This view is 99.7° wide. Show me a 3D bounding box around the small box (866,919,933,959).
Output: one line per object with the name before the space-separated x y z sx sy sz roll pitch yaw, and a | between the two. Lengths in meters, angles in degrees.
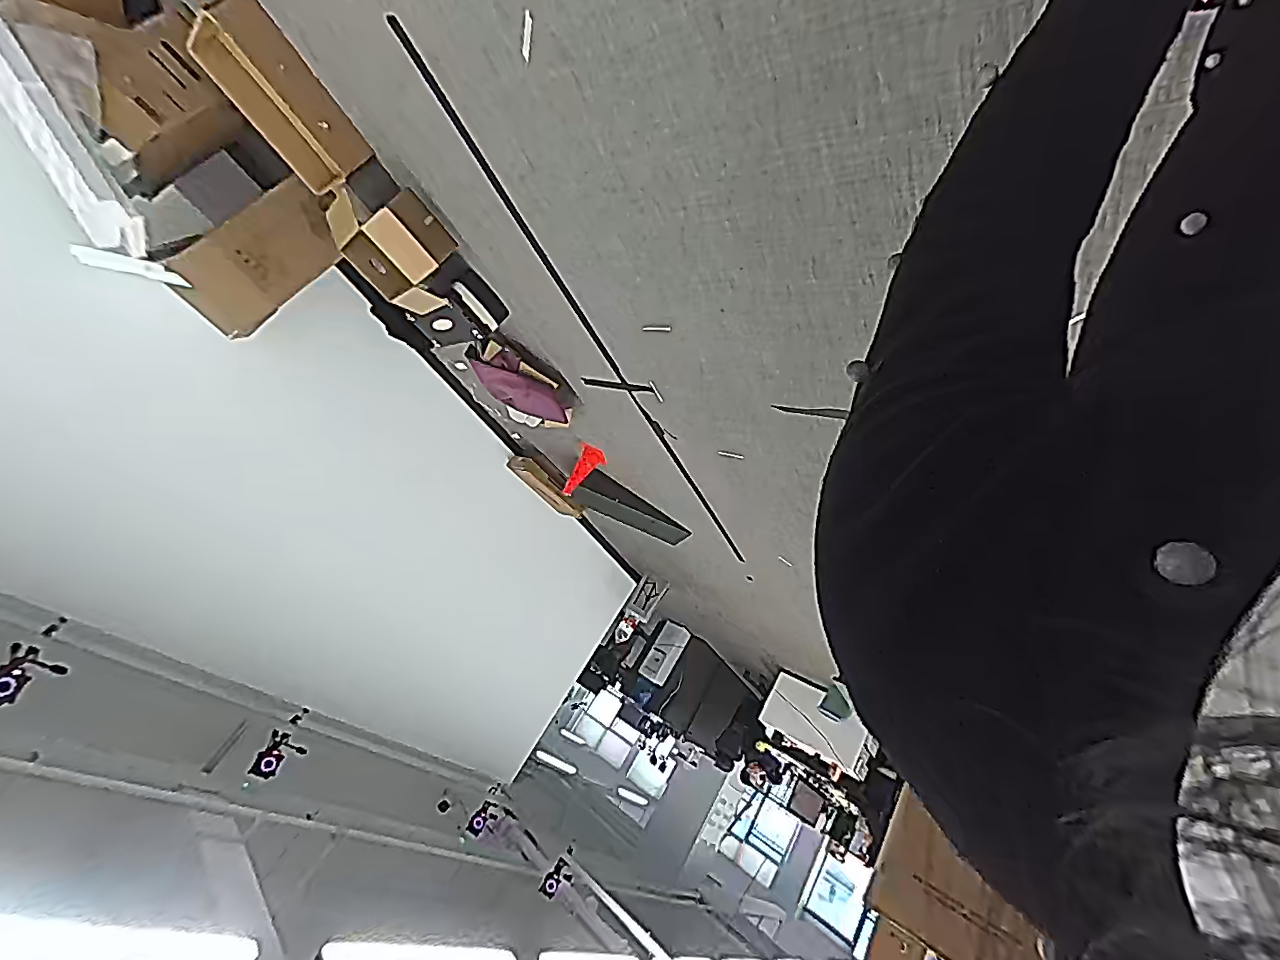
small box | 0.887 1.642 1.844 0.168 0.176 0.179 14 152 40
